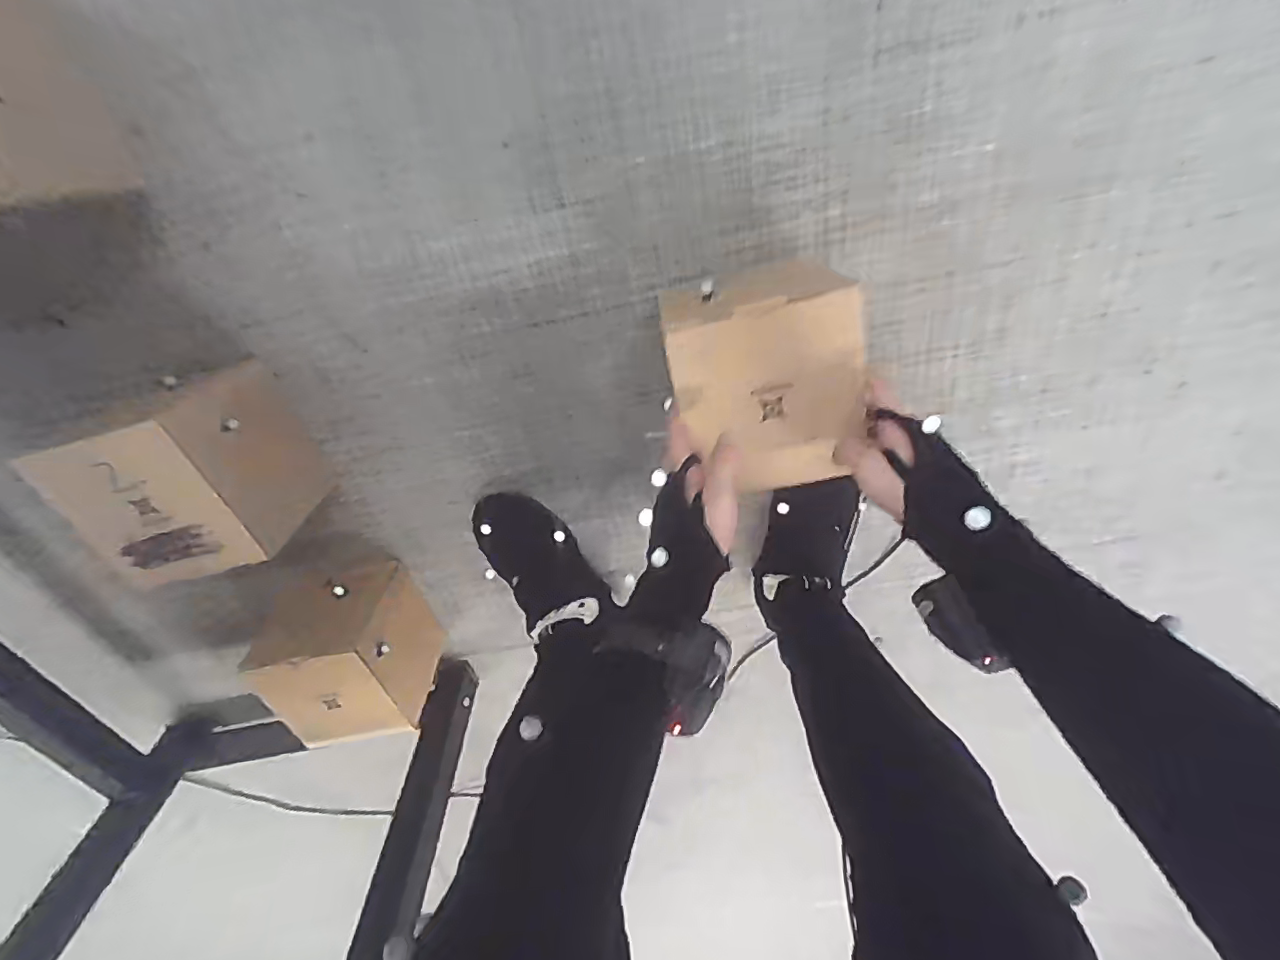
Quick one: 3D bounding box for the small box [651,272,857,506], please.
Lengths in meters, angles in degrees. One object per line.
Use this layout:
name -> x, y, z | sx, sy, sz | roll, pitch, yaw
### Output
small box -> 0.106, -0.101, 0.547 | 0.168, 0.176, 0.179 | -11, 118, 8

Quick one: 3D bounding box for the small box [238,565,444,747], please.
small box -> -0.411, 0.251, 0.784 | 0.168, 0.176, 0.179 | -12, 121, 6
